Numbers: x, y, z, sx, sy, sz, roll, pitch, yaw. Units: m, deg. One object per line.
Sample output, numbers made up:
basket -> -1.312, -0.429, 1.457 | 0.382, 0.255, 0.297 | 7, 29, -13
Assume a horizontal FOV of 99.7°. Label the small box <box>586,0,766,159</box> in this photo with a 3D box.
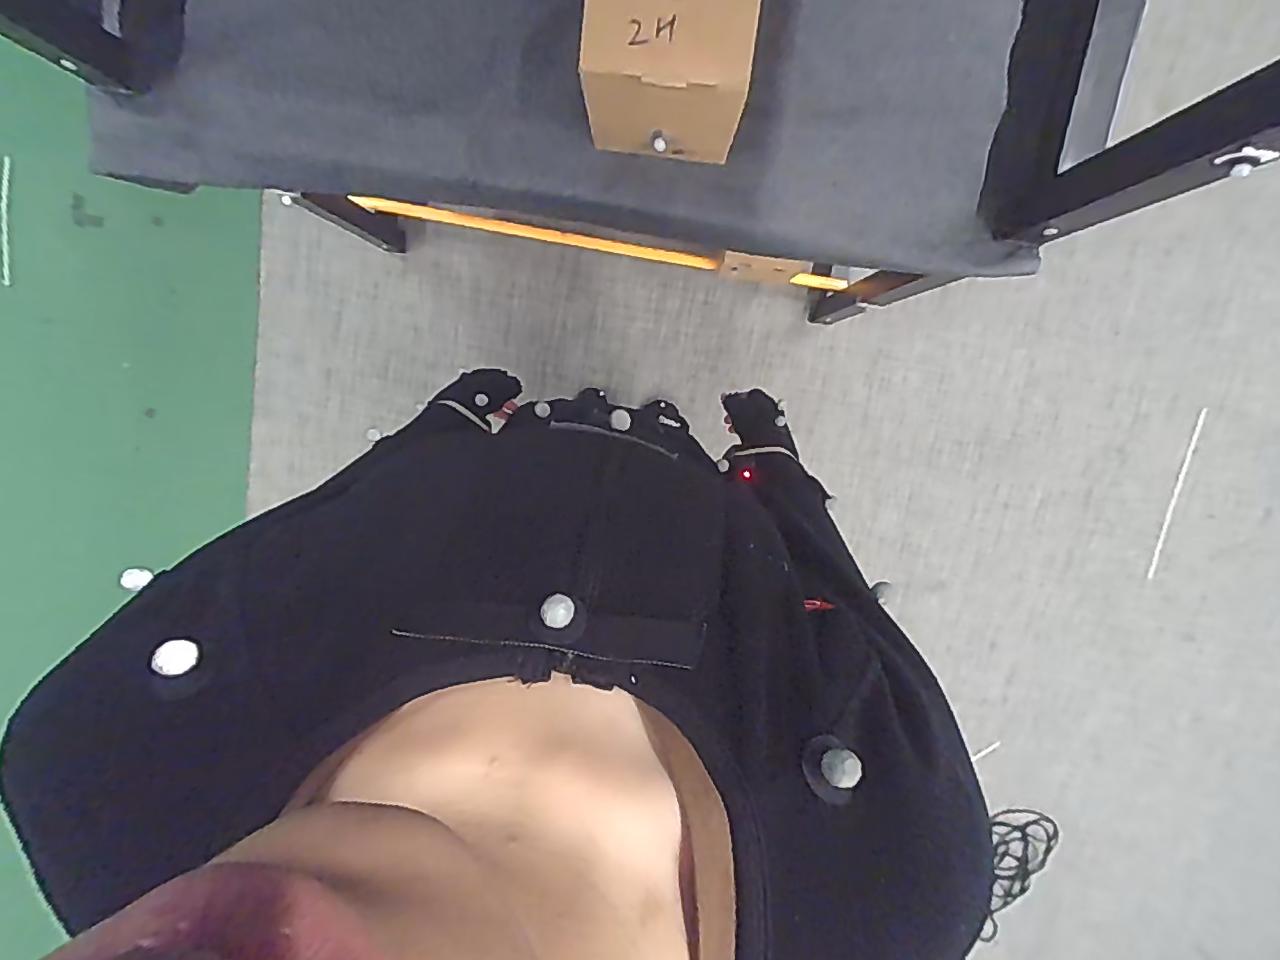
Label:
small box -> 0.039, -0.486, 0.584 | 0.168, 0.176, 0.179 | 7, 99, -1
